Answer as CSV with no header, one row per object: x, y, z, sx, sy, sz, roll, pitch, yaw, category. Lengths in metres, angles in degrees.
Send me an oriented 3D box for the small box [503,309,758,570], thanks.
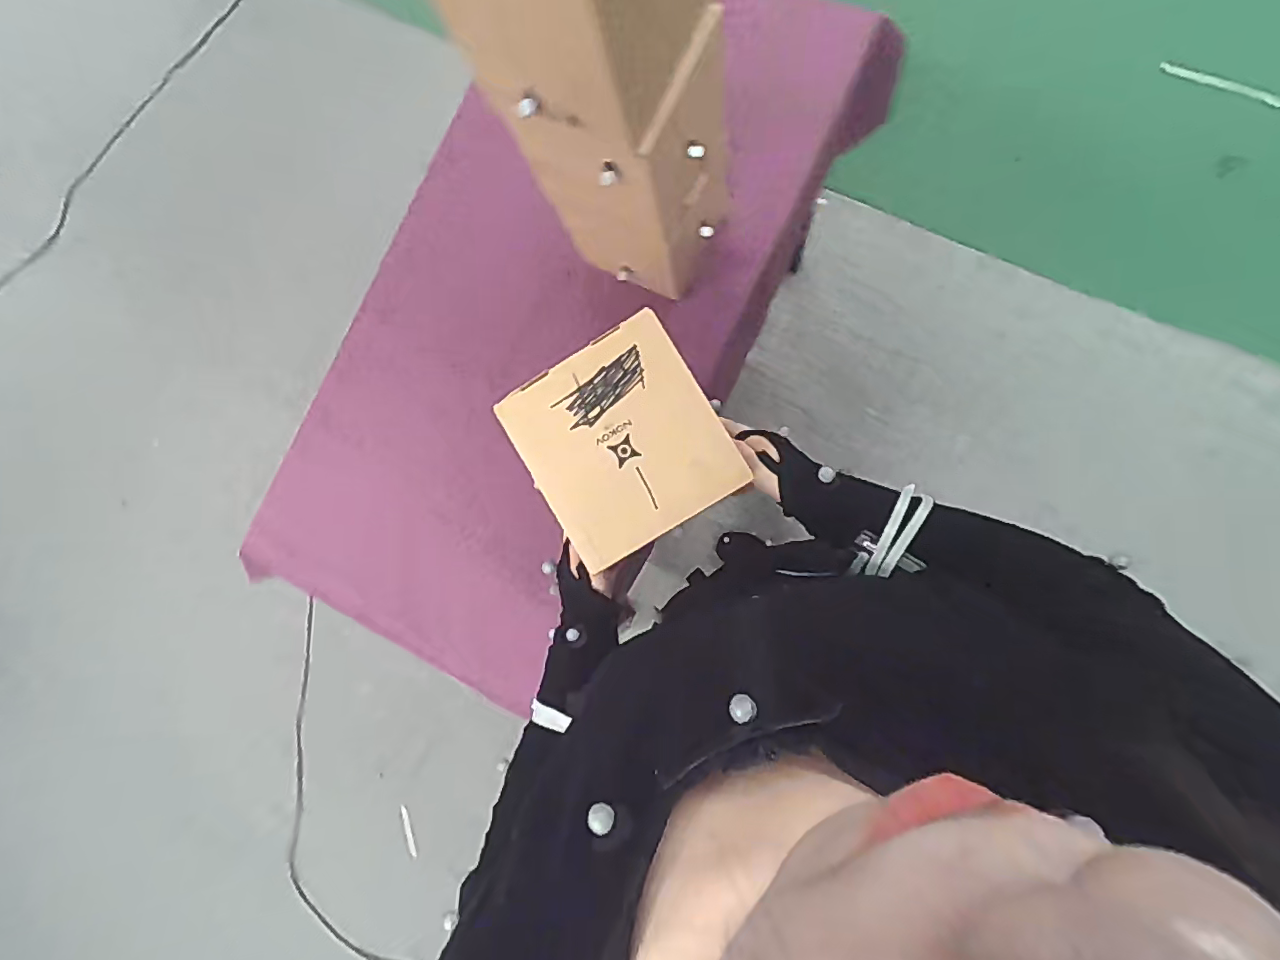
-0.003,-0.034,0.545,0.168,0.176,0.179,-31,88,6,small box

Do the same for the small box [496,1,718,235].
-0.023,-0.410,0.611,0.179,0.176,0.168,26,89,11,small box

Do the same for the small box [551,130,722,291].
0.005,-0.397,0.774,0.179,0.176,0.168,26,89,10,small box

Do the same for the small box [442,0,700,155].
-0.056,-0.424,0.452,0.168,0.176,0.179,26,90,12,small box
